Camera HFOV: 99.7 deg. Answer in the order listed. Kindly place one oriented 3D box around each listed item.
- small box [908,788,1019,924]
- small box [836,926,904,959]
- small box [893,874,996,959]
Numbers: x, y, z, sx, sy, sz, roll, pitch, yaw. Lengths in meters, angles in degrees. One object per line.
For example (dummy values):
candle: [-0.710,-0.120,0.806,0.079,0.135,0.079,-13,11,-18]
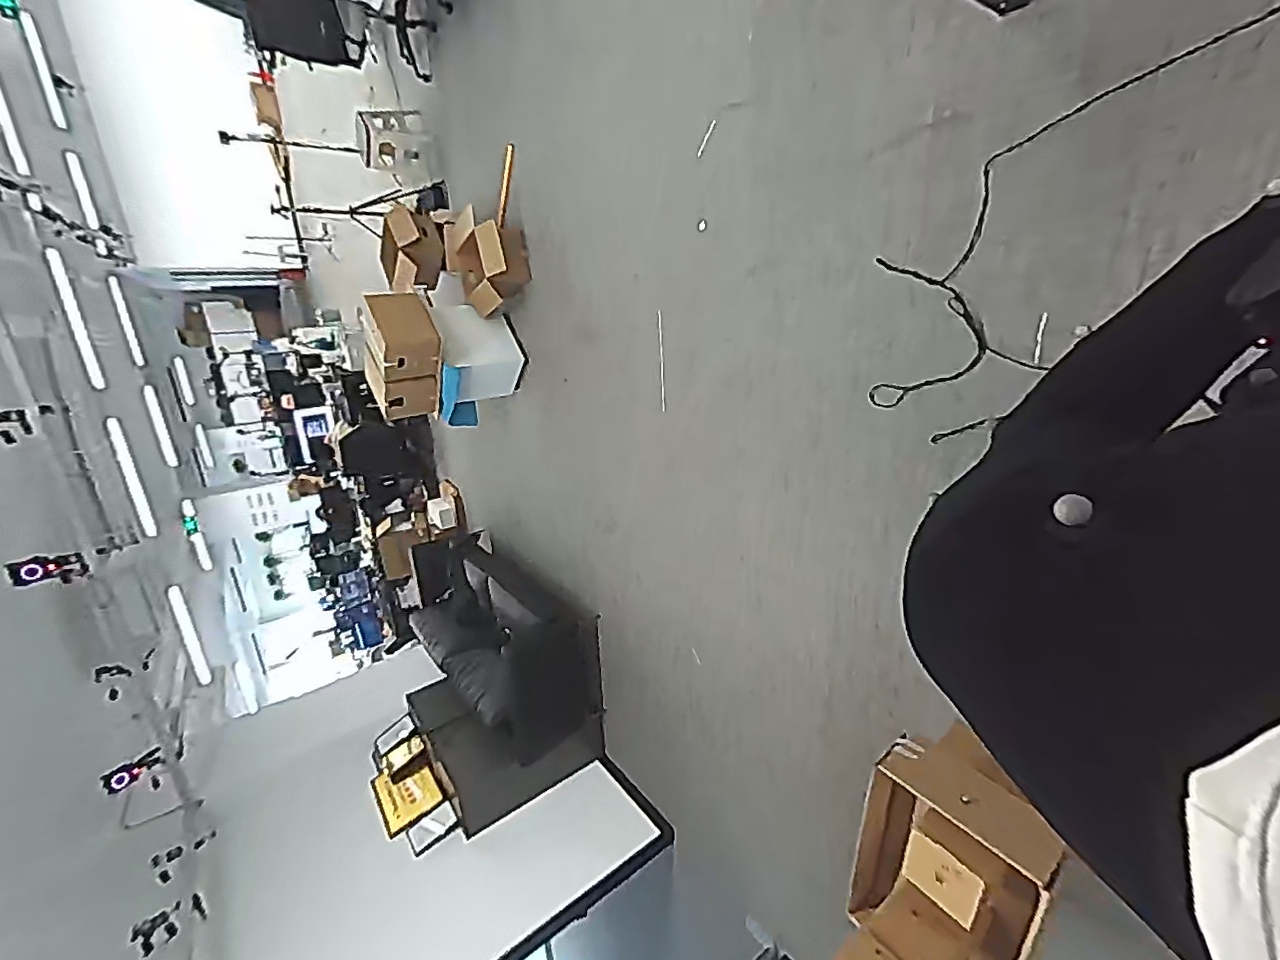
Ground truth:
small box: [0.790,0.909,1.321,0.168,0.176,0.179,26,125,48]
small box: [0.532,1.182,1.226,0.168,0.176,0.179,21,118,51]
small box: [0.798,1.143,1.417,0.168,0.176,0.179,24,120,50]
